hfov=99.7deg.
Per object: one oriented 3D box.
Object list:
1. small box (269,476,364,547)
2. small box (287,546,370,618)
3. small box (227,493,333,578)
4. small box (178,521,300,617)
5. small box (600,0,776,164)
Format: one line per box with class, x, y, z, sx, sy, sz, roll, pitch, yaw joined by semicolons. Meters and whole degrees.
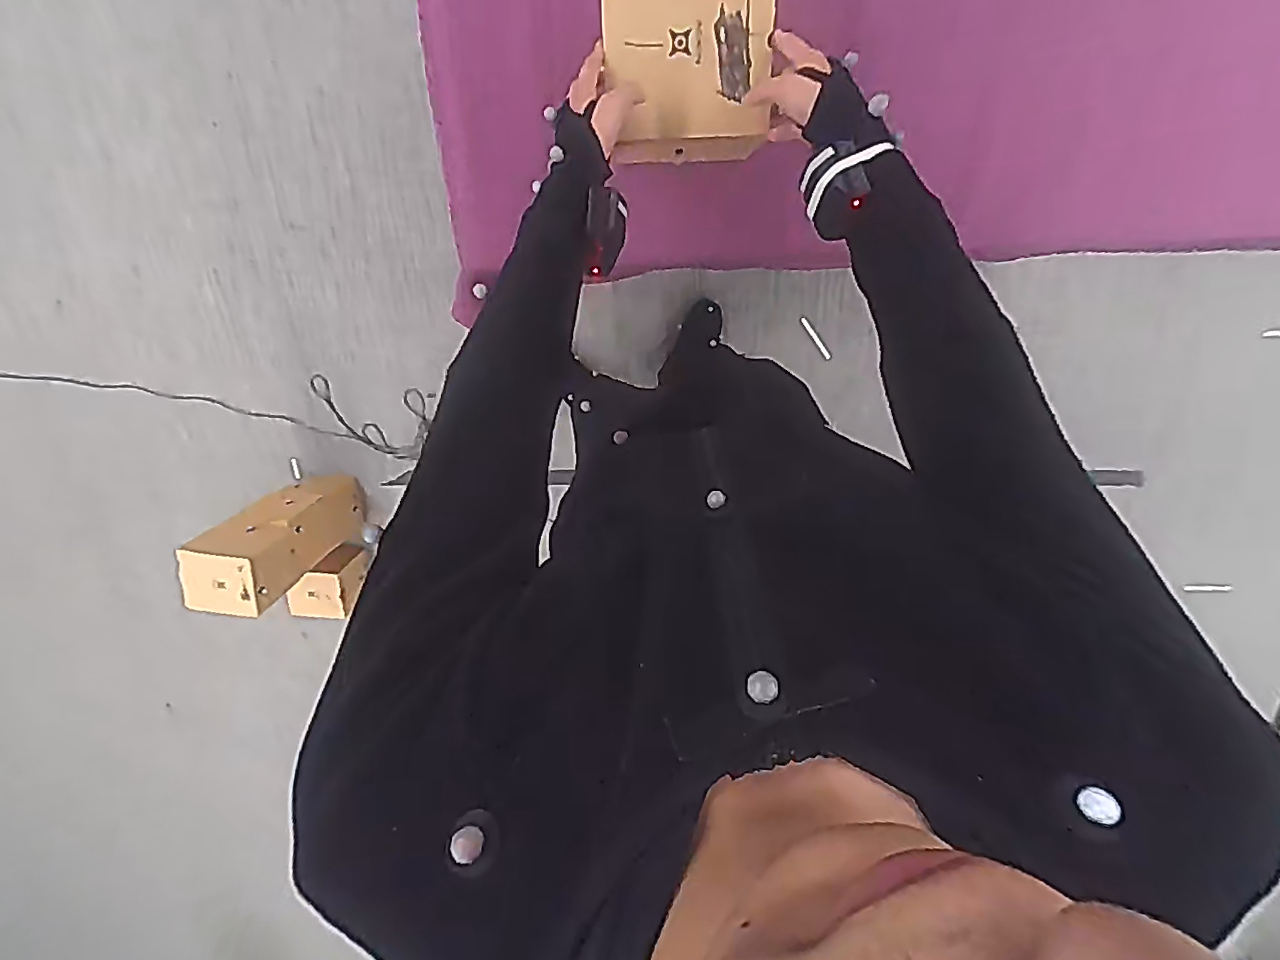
small box;-0.985;0.093;1.656;0.179;0.176;0.168;0;112;2
small box;-1.004;0.323;1.744;0.179;0.176;0.168;4;112;0
small box;-0.989;0.152;1.505;0.168;0.176;0.179;2;112;2
small box;-0.993;0.215;1.353;0.179;0.176;0.168;9;112;0
small box;0.050;-0.470;0.619;0.179;0.176;0.168;0;113;3
